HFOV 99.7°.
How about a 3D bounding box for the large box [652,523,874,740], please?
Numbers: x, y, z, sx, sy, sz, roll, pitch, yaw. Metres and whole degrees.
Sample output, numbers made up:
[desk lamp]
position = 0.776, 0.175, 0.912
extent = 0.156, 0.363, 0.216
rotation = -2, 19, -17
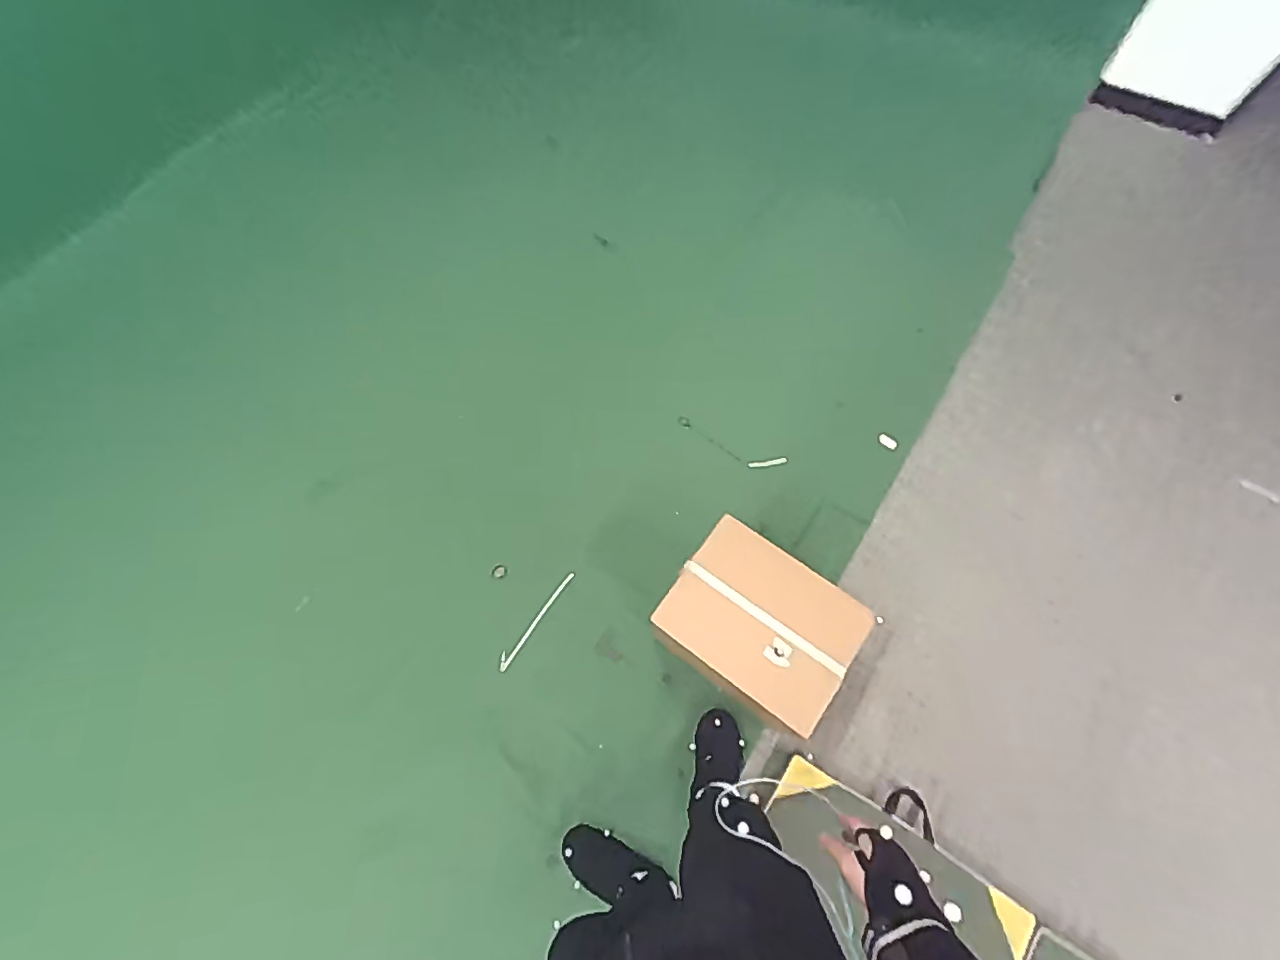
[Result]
[large box]
position = 0.274, 0.374, 1.335
extent = 0.408, 0.320, 0.320
rotation = 34, 73, 14
